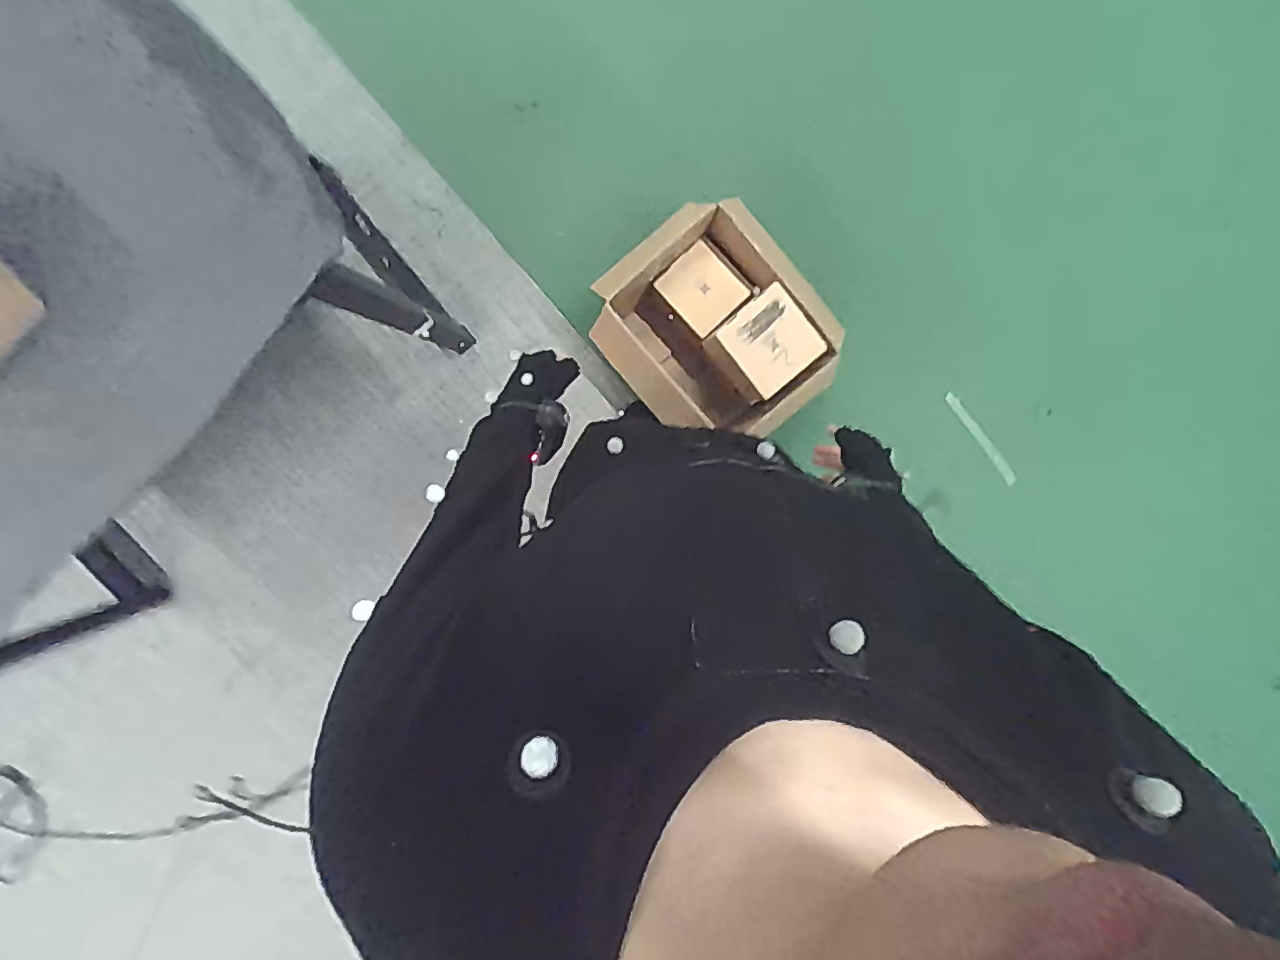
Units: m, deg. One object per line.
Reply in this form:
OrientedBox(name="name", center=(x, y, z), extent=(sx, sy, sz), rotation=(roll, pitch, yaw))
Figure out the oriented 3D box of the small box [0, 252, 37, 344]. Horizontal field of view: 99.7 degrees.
OrientedBox(name="small box", center=(-0.897, -0.230, 0.632), extent=(0.179, 0.176, 0.168), rotation=(-41, 95, 4))
